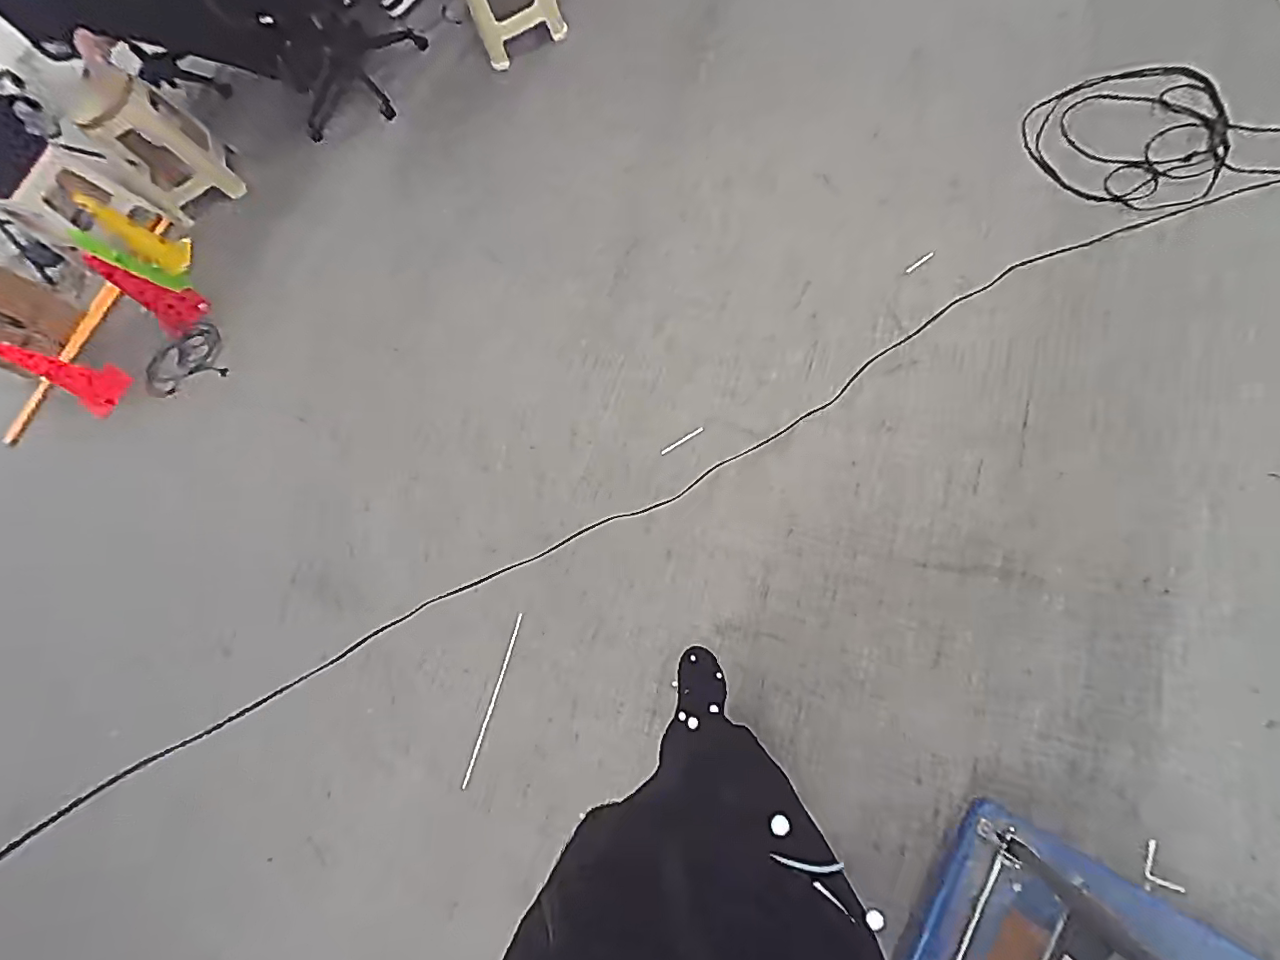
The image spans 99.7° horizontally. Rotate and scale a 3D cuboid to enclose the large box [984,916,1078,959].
[{"bbox_3d":[0.738,0.971,0.783,0.408,0.320,0.320,27,81,20],"label":"large box"}]
